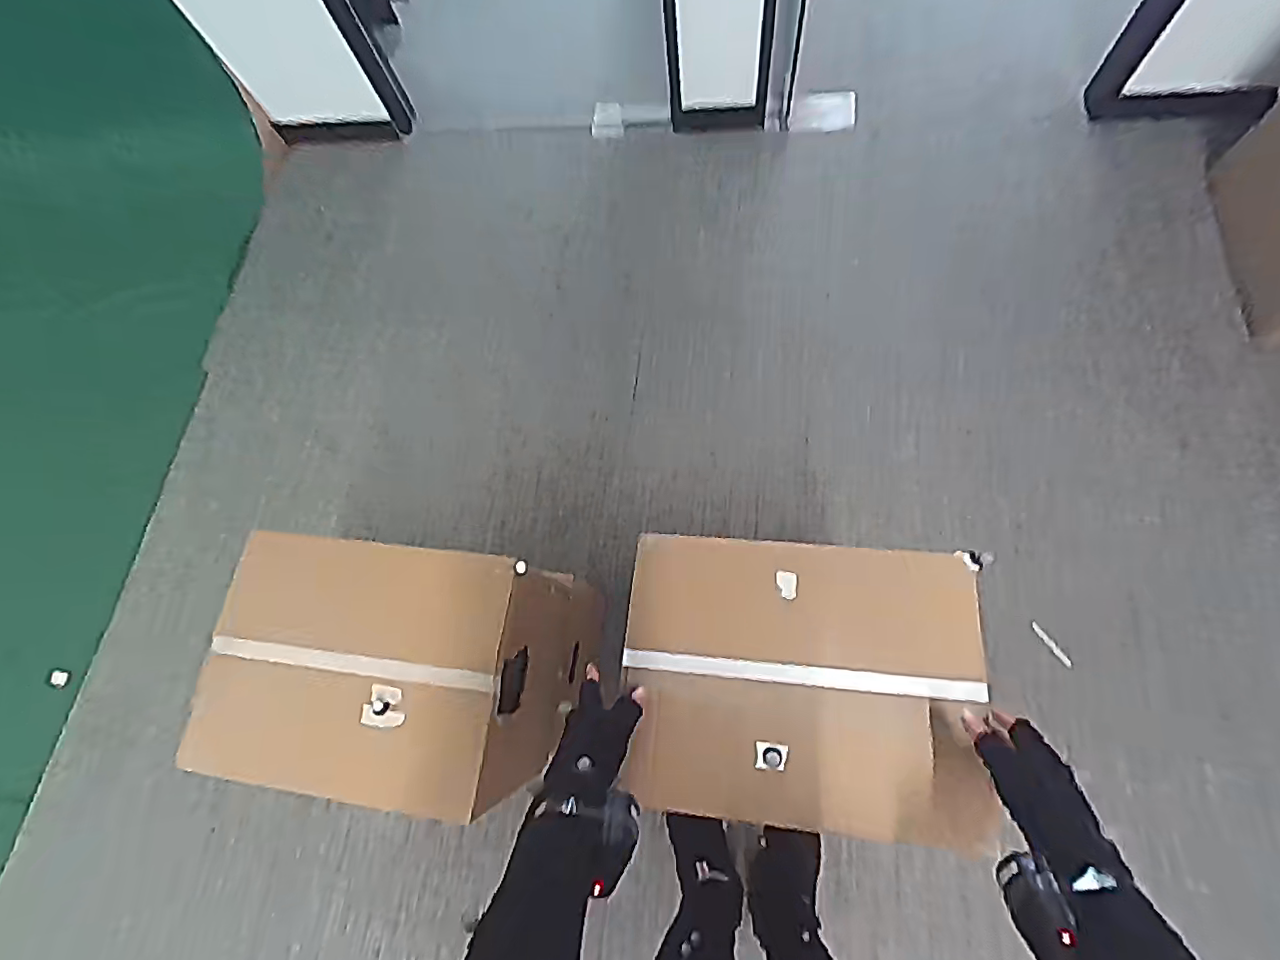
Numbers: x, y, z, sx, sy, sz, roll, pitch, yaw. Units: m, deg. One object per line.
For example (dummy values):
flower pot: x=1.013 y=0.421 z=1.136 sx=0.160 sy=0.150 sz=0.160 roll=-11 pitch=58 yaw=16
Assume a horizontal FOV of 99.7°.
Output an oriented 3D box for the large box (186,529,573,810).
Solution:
large box: x=-0.351 y=0.276 z=0.844 sx=0.408 sy=0.320 sz=0.320 roll=5 pitch=74 yaw=8
